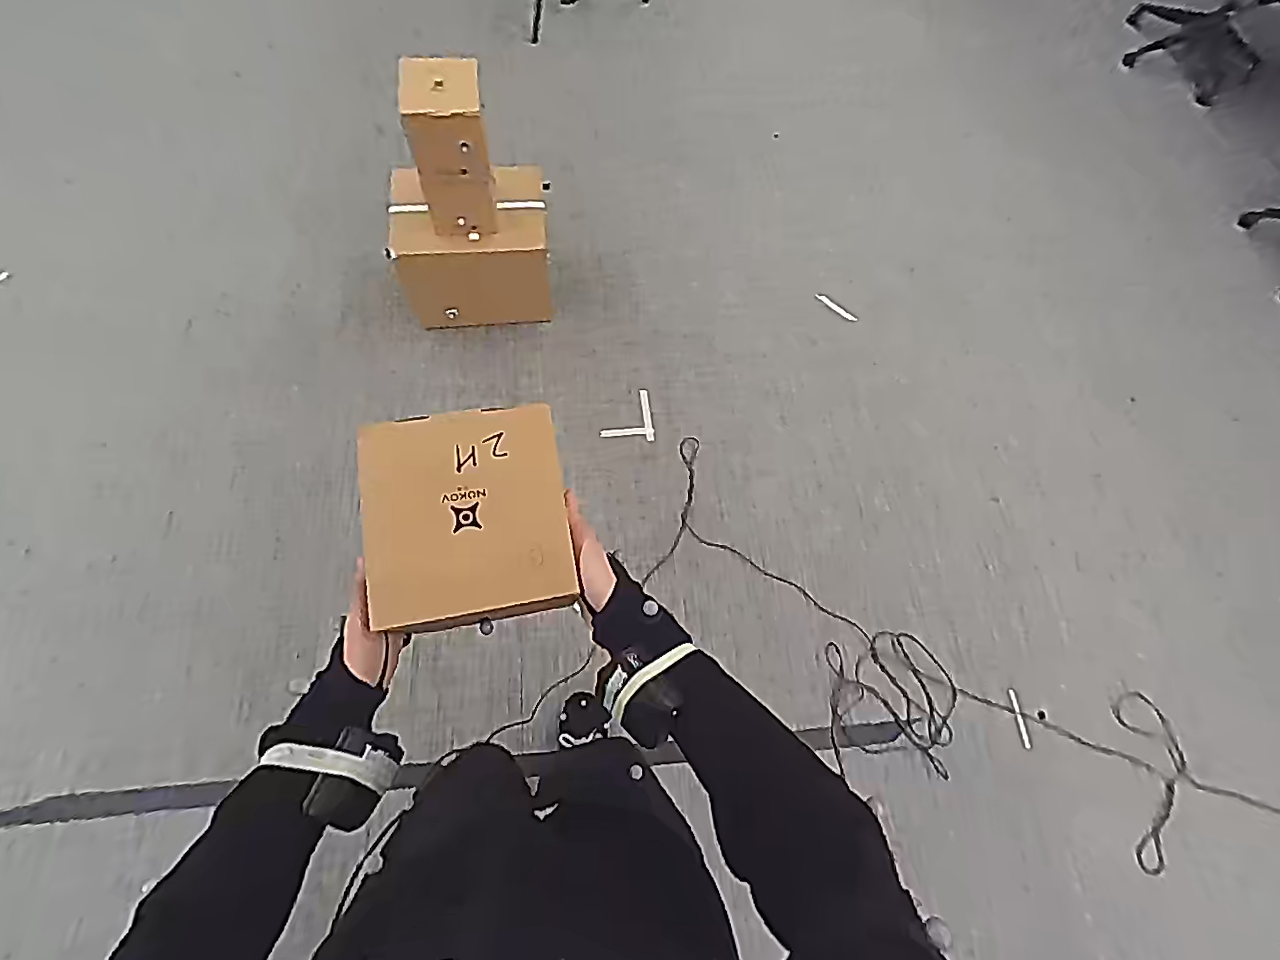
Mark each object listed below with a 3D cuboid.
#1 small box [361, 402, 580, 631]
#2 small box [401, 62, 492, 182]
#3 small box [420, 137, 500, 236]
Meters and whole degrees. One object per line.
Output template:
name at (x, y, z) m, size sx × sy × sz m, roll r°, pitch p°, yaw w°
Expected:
small box at (-0.153, 0.045, 0.528) m, size 0.168 × 0.176 × 0.179 m, roll -9°, pitch 75°, yaw -11°
small box at (-0.434, -0.808, 1.231) m, size 0.168 × 0.176 × 0.179 m, roll -6°, pitch 69°, yaw -9°
small box at (-0.456, -0.755, 1.384) m, size 0.168 × 0.176 × 0.179 m, roll -6°, pitch 70°, yaw -8°
